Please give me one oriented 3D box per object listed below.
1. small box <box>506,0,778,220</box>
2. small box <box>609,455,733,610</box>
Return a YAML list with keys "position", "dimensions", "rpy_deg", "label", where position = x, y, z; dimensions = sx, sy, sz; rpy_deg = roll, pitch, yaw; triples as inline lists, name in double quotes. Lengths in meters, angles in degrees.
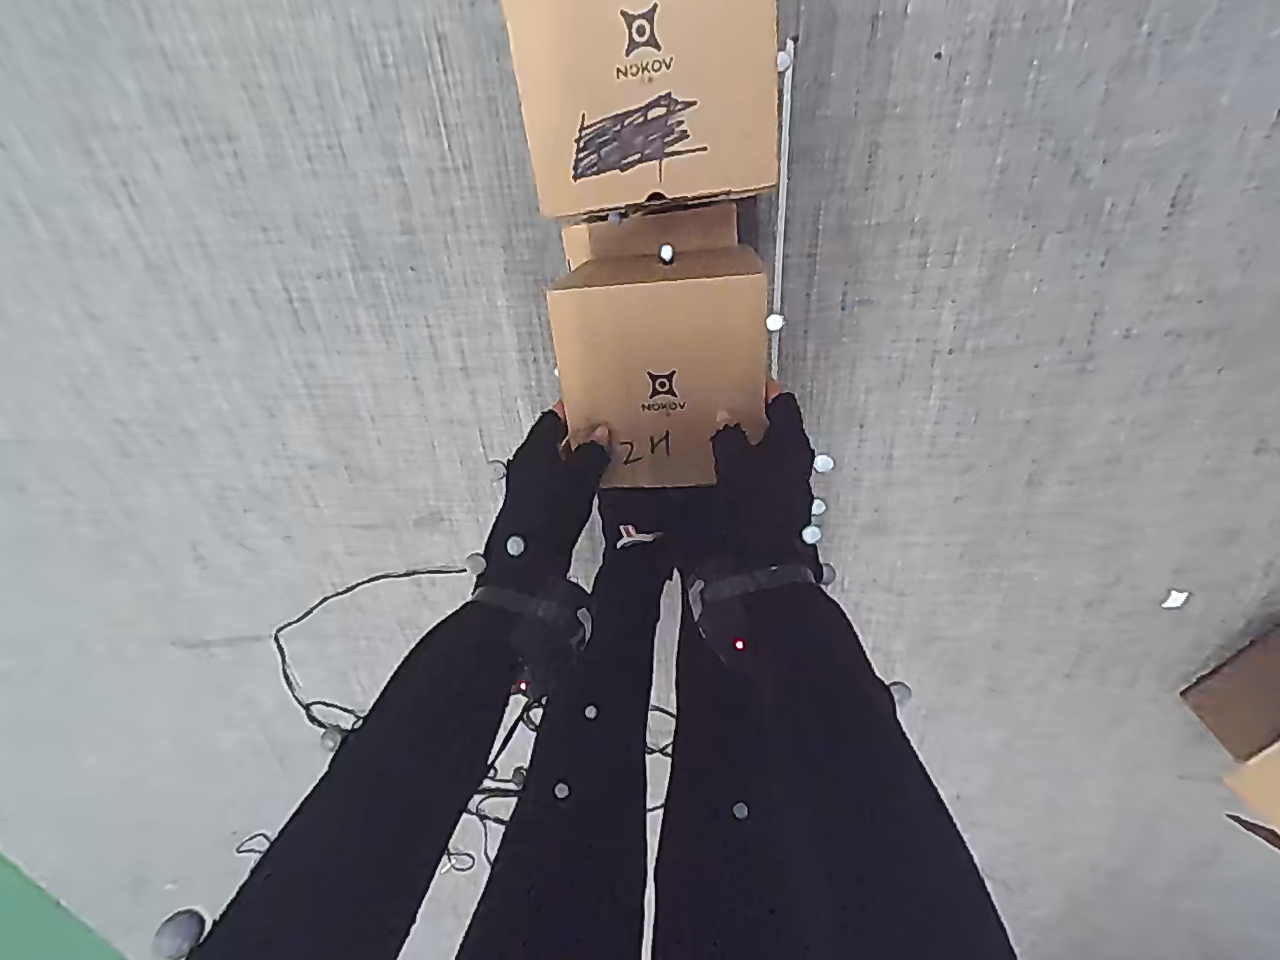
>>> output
- position: [0.011, -0.303, 0.404]
  dimensions: [0.168, 0.176, 0.179]
  rpy_deg: [-3, 117, 8]
  label: "small box"
- position: [0.037, 0.079, 0.836]
  dimensions: [0.168, 0.176, 0.179]
  rpy_deg: [0, 122, -5]
  label: "small box"
